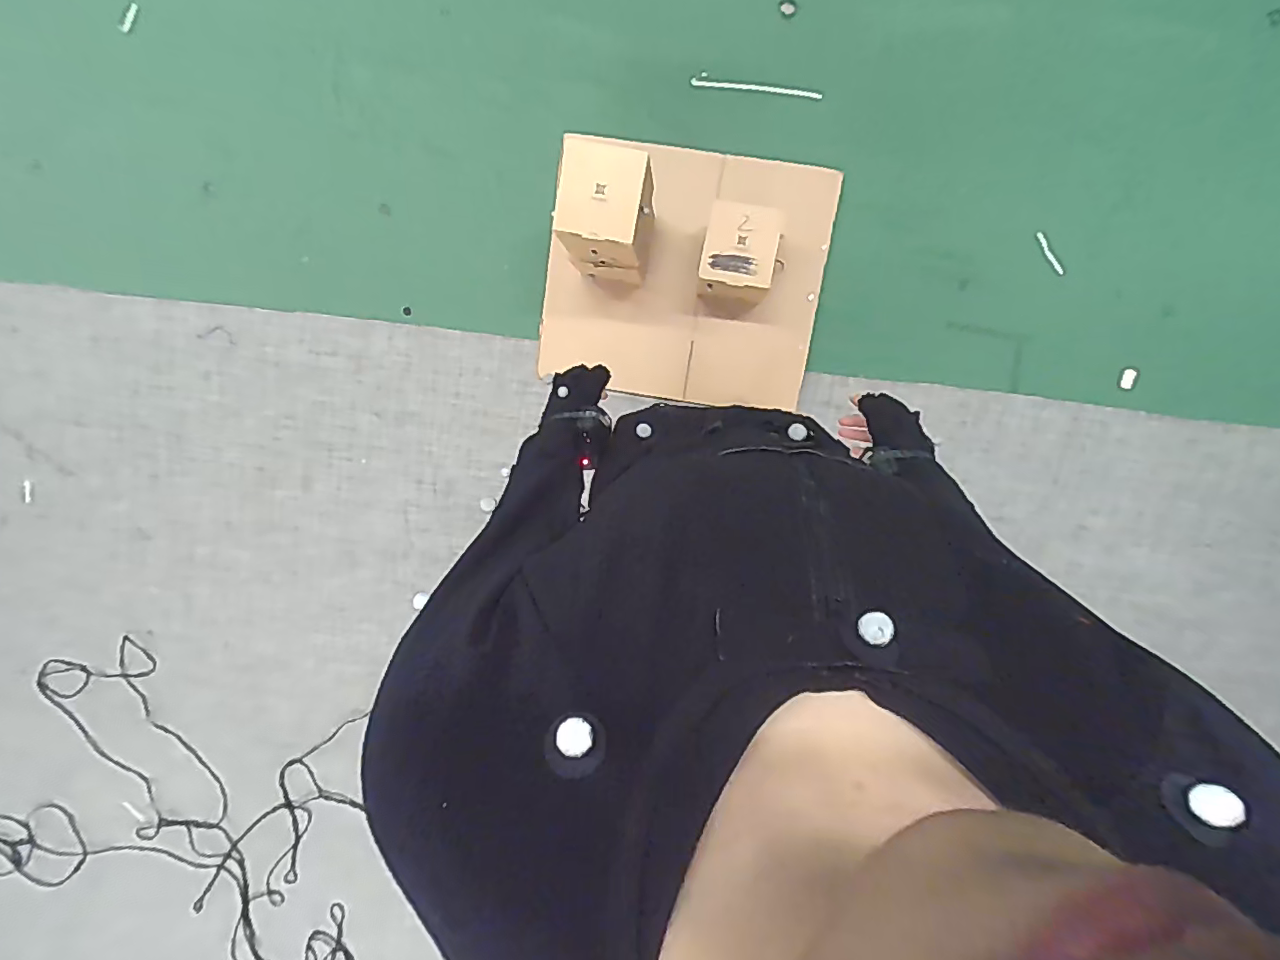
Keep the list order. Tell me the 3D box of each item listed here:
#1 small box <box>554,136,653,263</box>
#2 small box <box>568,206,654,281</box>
[{"bbox_3d":[-0.068,-0.575,1.128,0.168,0.176,0.179,12,100,2],"label":"small box"},{"bbox_3d":[-0.063,-0.588,1.290,0.168,0.176,0.179,11,98,4],"label":"small box"}]
